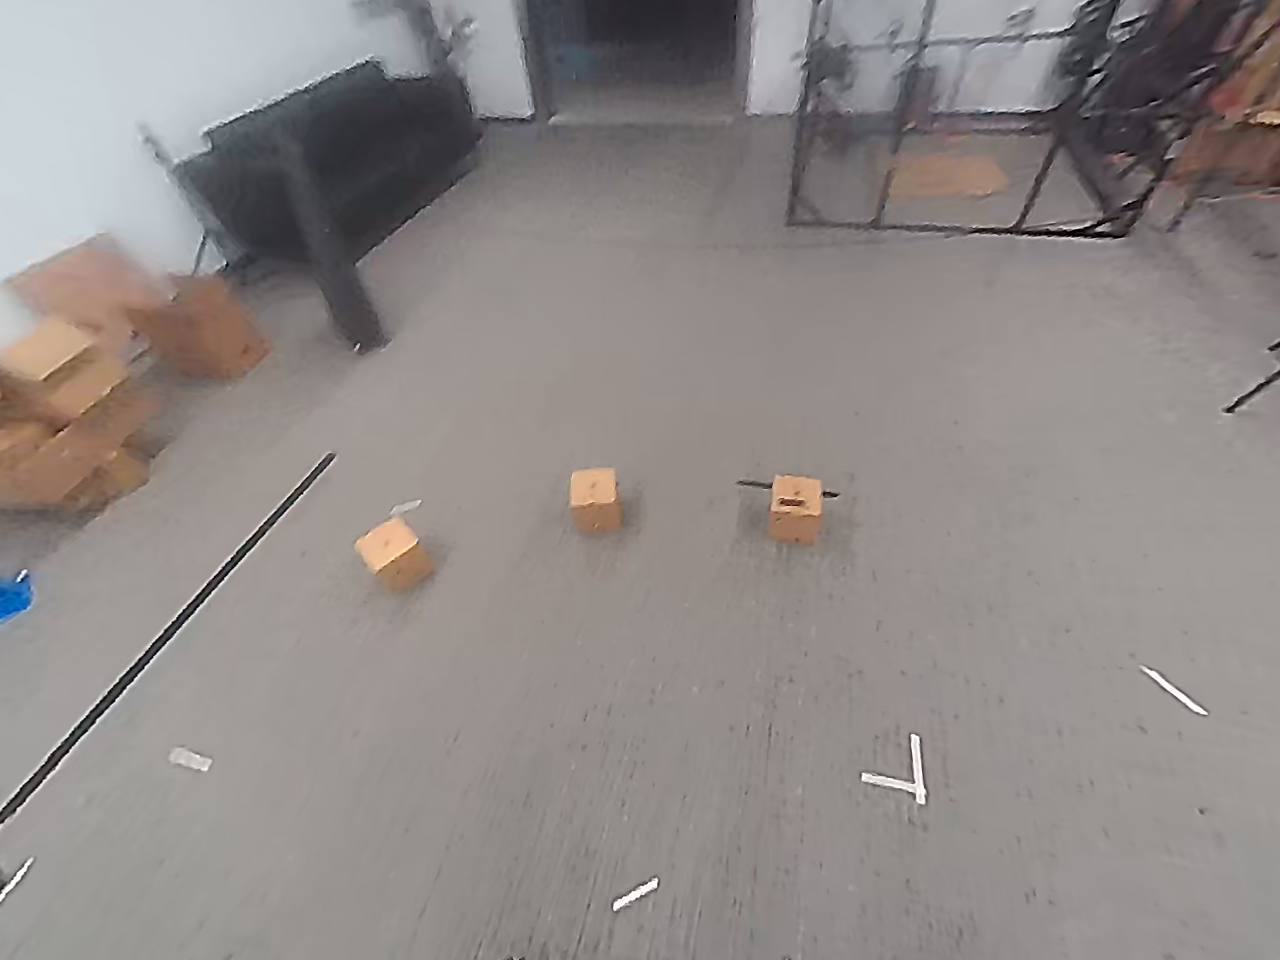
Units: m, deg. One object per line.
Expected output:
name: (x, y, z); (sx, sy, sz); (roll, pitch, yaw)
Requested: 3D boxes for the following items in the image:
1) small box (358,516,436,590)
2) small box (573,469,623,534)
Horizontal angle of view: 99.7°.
small box: (-0.868, 0.270, 1.946); (0.168, 0.176, 0.179); (-37, 54, -25)
small box: (-0.157, 0.082, 2.055); (0.168, 0.176, 0.179); (-5, 47, 1)
